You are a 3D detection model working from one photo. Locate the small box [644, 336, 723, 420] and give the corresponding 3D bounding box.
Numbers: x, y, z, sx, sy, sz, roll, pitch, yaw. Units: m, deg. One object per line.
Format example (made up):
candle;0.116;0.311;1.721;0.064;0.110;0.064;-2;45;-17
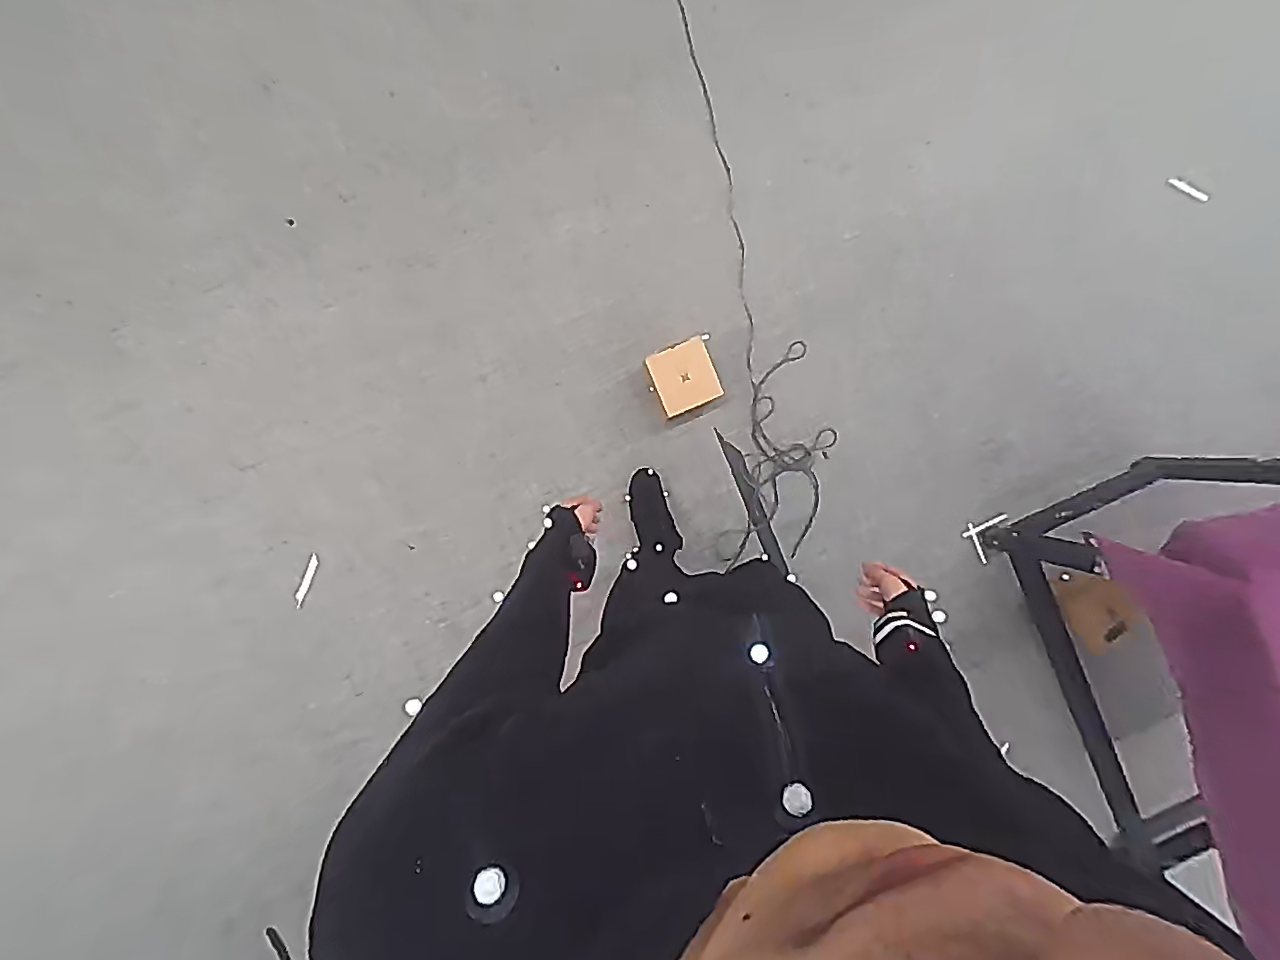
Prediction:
small box;0.115;-0.282;1.534;0.168;0.176;0.179;-22;93;0
